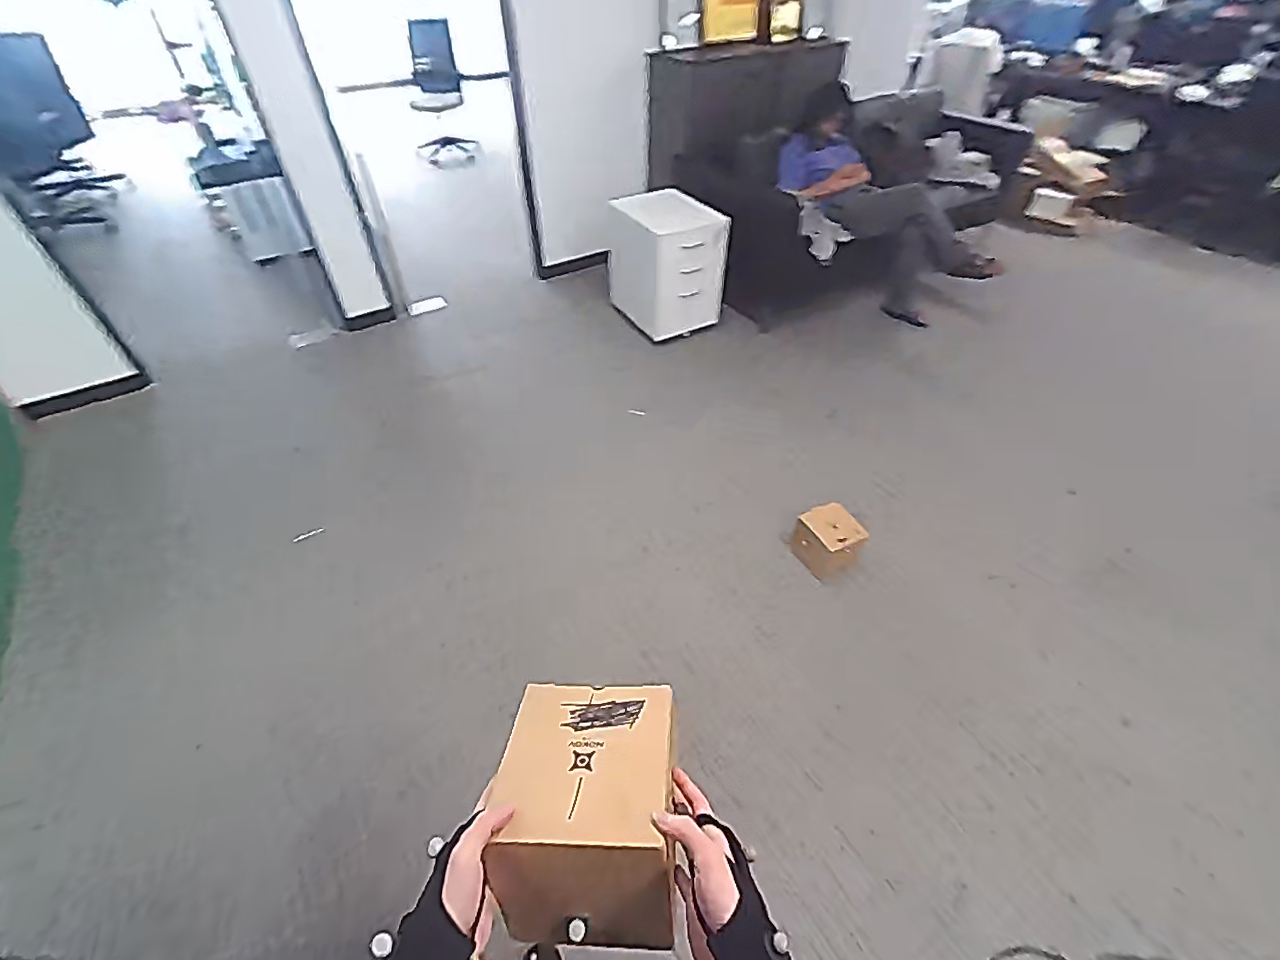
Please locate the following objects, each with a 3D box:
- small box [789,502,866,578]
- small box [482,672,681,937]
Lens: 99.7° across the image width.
[{"bbox_3d":[0.645,0.210,1.890,0.168,0.176,0.179,-19,47,-19],"label":"small box"},{"bbox_3d":[-0.045,0.331,0.571,0.168,0.176,0.179,-2,26,7],"label":"small box"}]
